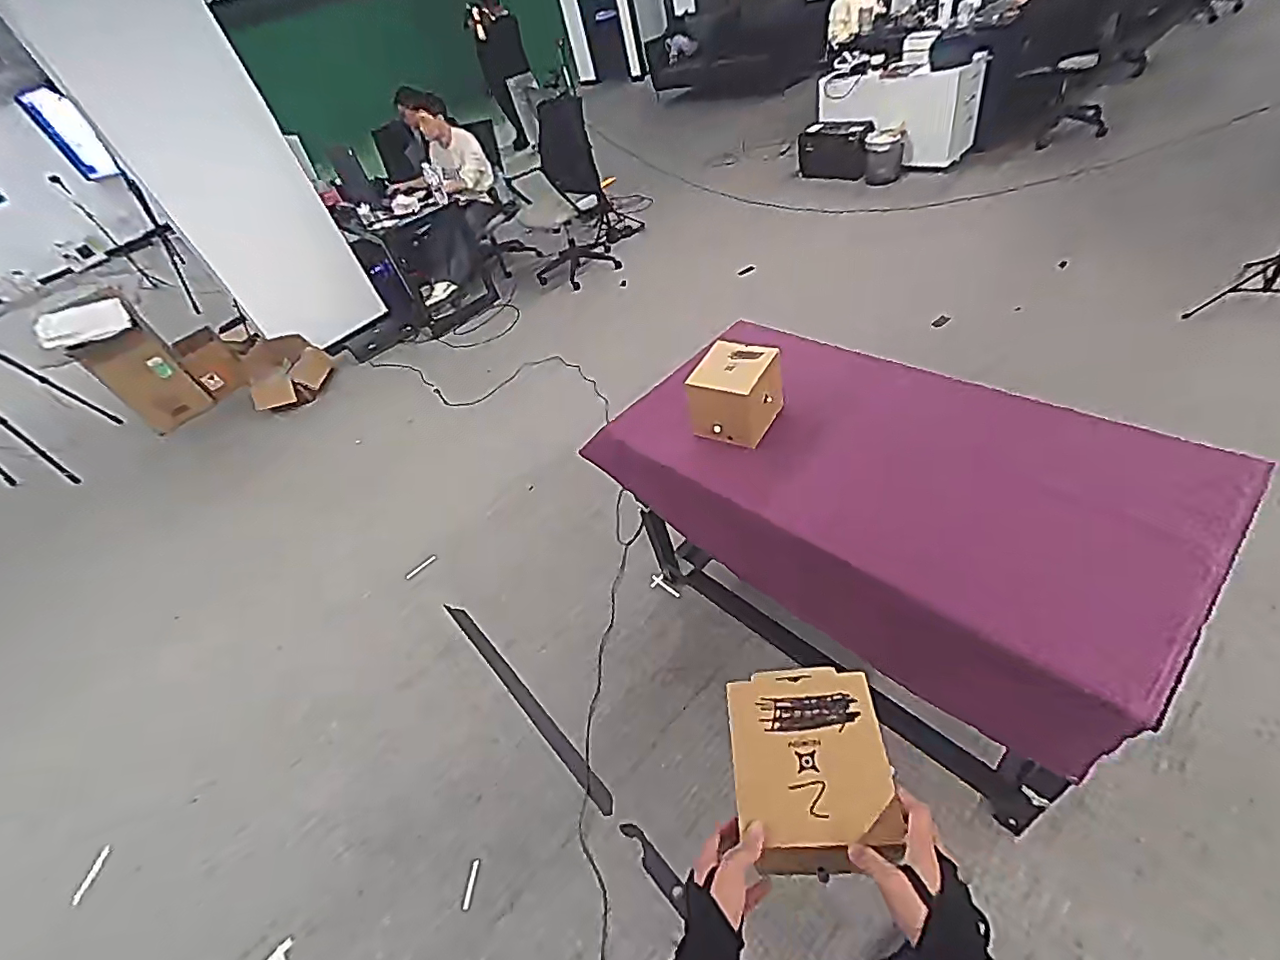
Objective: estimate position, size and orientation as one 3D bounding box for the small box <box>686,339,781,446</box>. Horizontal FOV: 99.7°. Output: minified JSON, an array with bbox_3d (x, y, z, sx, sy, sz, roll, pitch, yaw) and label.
[{"bbox_3d":[0.232,-0.212,1.306,0.168,0.176,0.179,17,55,32],"label":"small box"}]
